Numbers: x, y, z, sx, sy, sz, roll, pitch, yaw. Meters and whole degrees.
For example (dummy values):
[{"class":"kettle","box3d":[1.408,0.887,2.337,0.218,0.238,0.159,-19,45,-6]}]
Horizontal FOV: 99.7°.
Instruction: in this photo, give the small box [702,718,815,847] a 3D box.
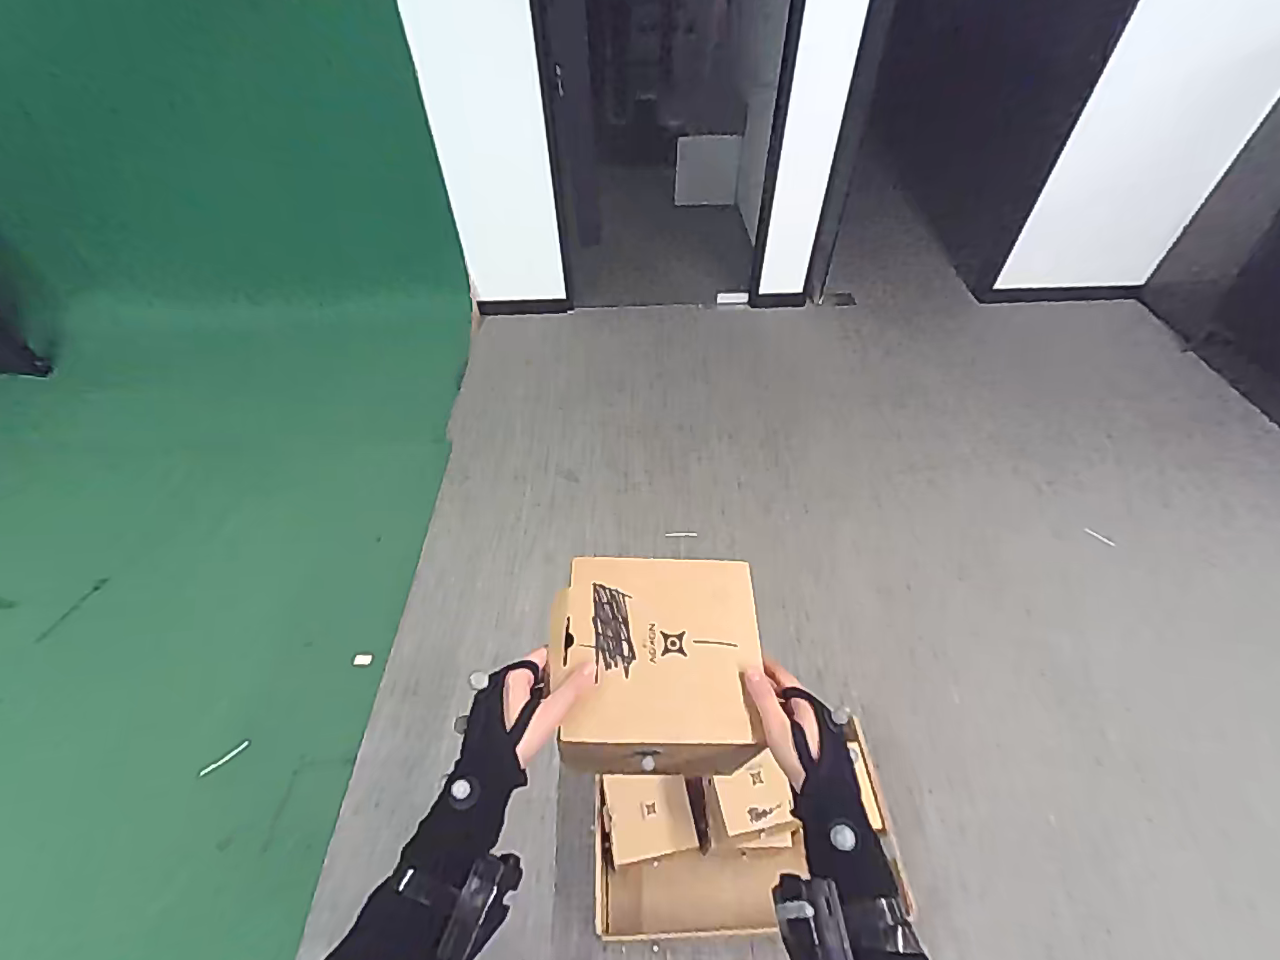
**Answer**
[{"class":"small box","box3d":[0.223,0.607,1.083,0.168,0.176,0.179,-9,49,-6]}]

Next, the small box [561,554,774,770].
[{"class":"small box","box3d":[0.019,0.188,0.545,0.179,0.176,0.168,2,54,-3]}]
